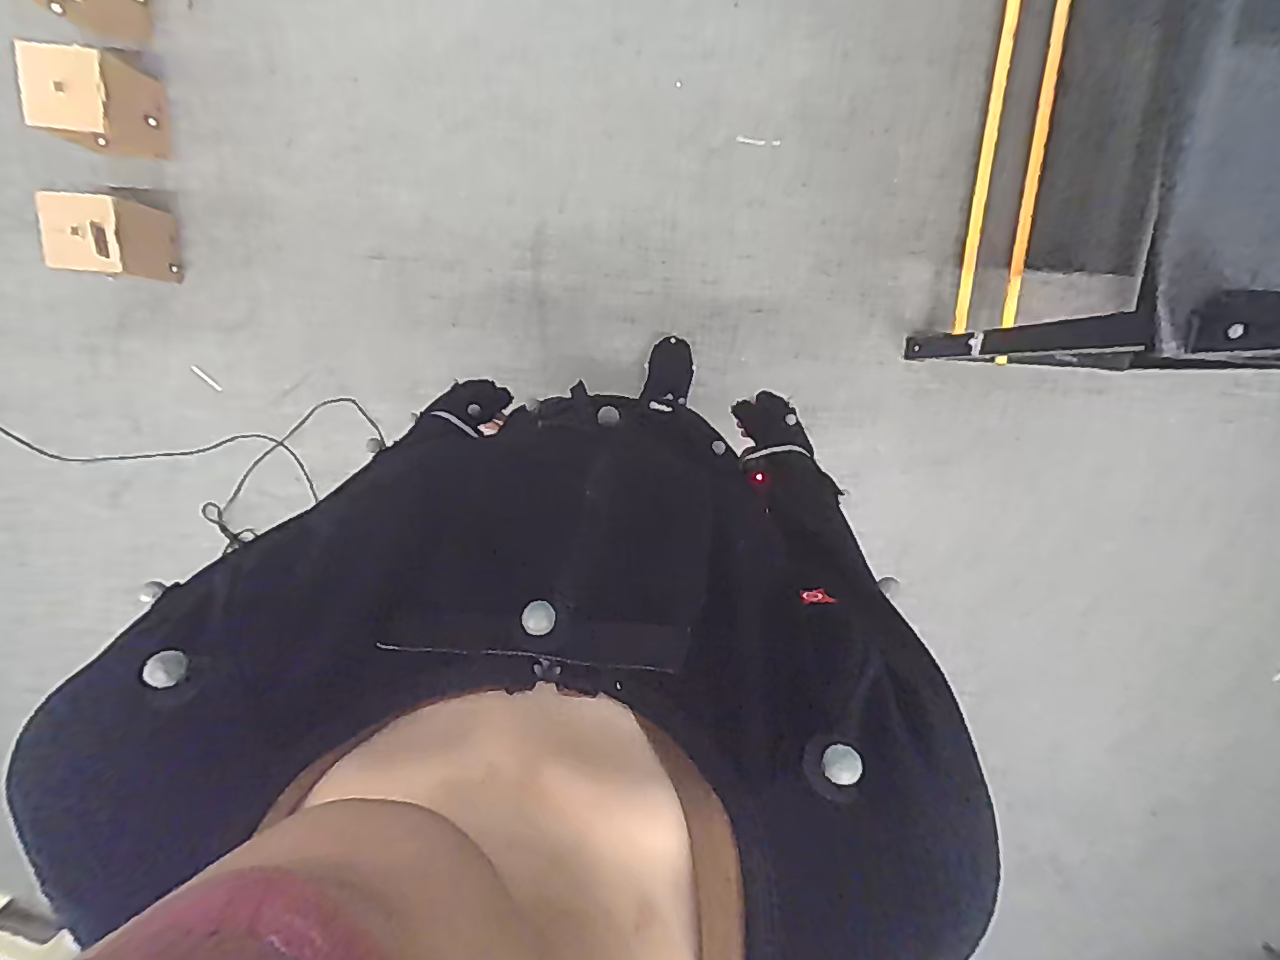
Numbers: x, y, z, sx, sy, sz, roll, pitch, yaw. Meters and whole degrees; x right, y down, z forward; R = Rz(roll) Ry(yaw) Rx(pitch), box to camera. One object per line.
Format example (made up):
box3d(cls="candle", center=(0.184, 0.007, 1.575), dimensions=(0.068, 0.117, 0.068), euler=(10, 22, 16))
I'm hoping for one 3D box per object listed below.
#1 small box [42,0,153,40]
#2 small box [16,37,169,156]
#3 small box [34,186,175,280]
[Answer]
box3d(cls="small box", center=(-1.223, -1.114, 1.181), dimensions=(0.179, 0.176, 0.168), euler=(12, 102, -3))
box3d(cls="small box", center=(-1.235, -0.863, 1.232), dimensions=(0.179, 0.176, 0.168), euler=(5, 101, -1))
box3d(cls="small box", center=(-1.255, -0.578, 1.286), dimensions=(0.179, 0.176, 0.168), euler=(4, 101, 0))
